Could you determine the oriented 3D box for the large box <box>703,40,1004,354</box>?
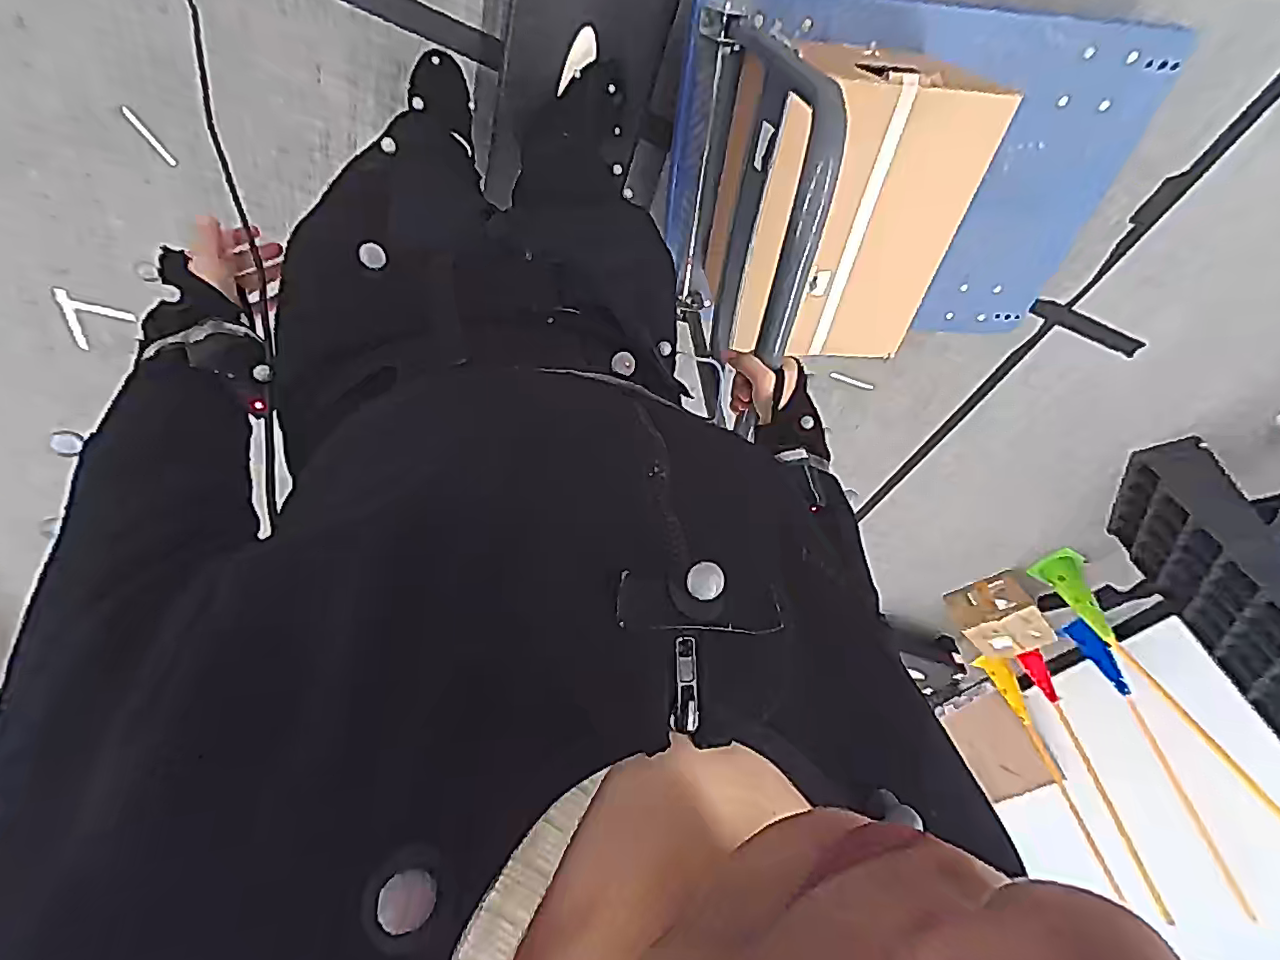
[{"bbox_3d":[0.309,-0.479,0.938,0.320,0.320,0.408,1,136,-6],"label":"large box"}]
